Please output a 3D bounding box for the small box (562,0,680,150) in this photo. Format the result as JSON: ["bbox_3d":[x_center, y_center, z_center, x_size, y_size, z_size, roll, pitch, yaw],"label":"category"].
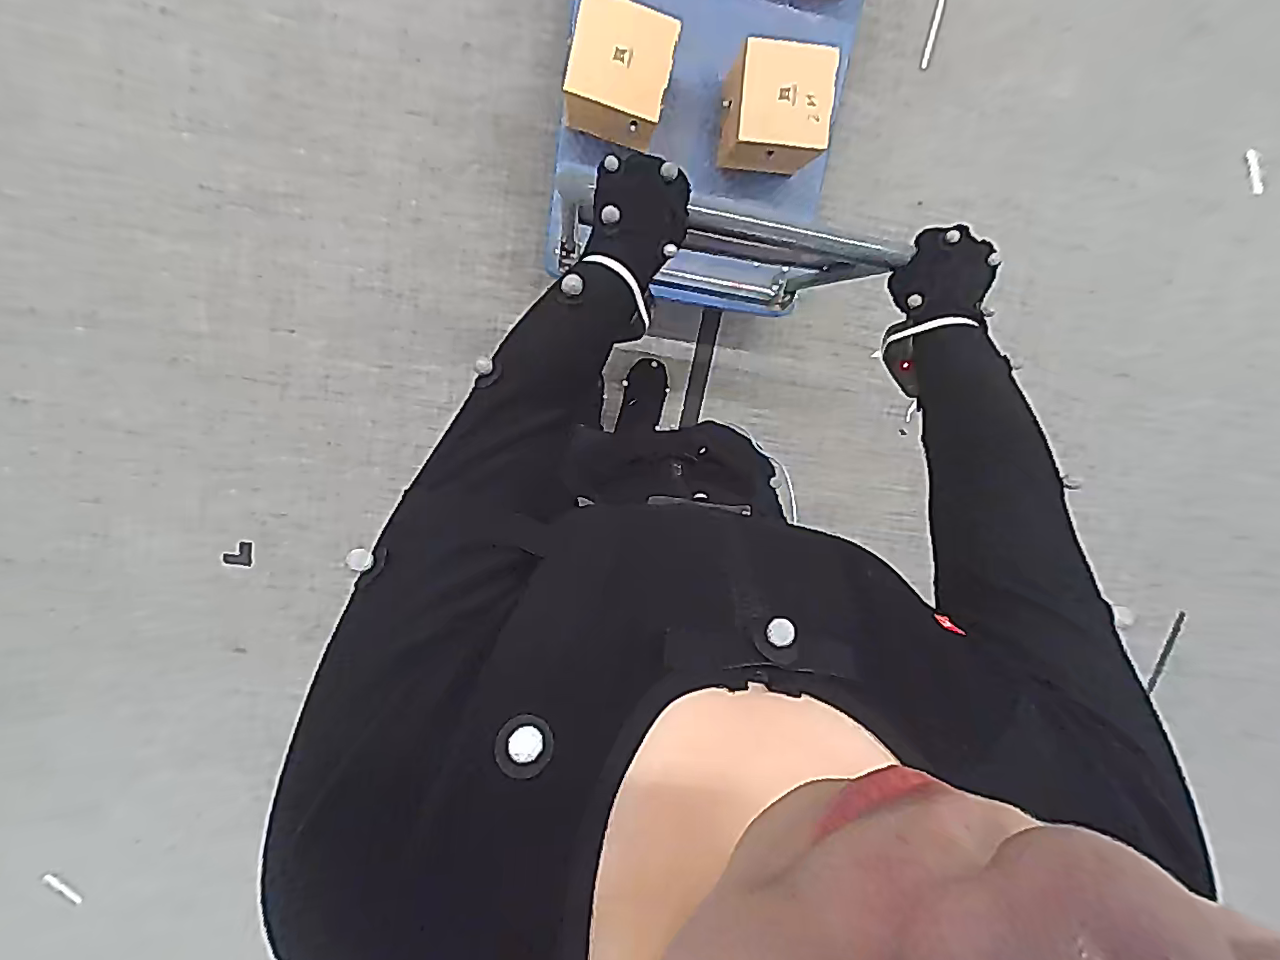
[{"bbox_3d":[-0.044,-0.758,1.022,0.179,0.176,0.168,12,103,-12],"label":"small box"}]

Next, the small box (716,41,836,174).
[{"bbox_3d":[0.257,-0.721,1.068,0.179,0.176,0.168,2,105,-7],"label":"small box"}]
